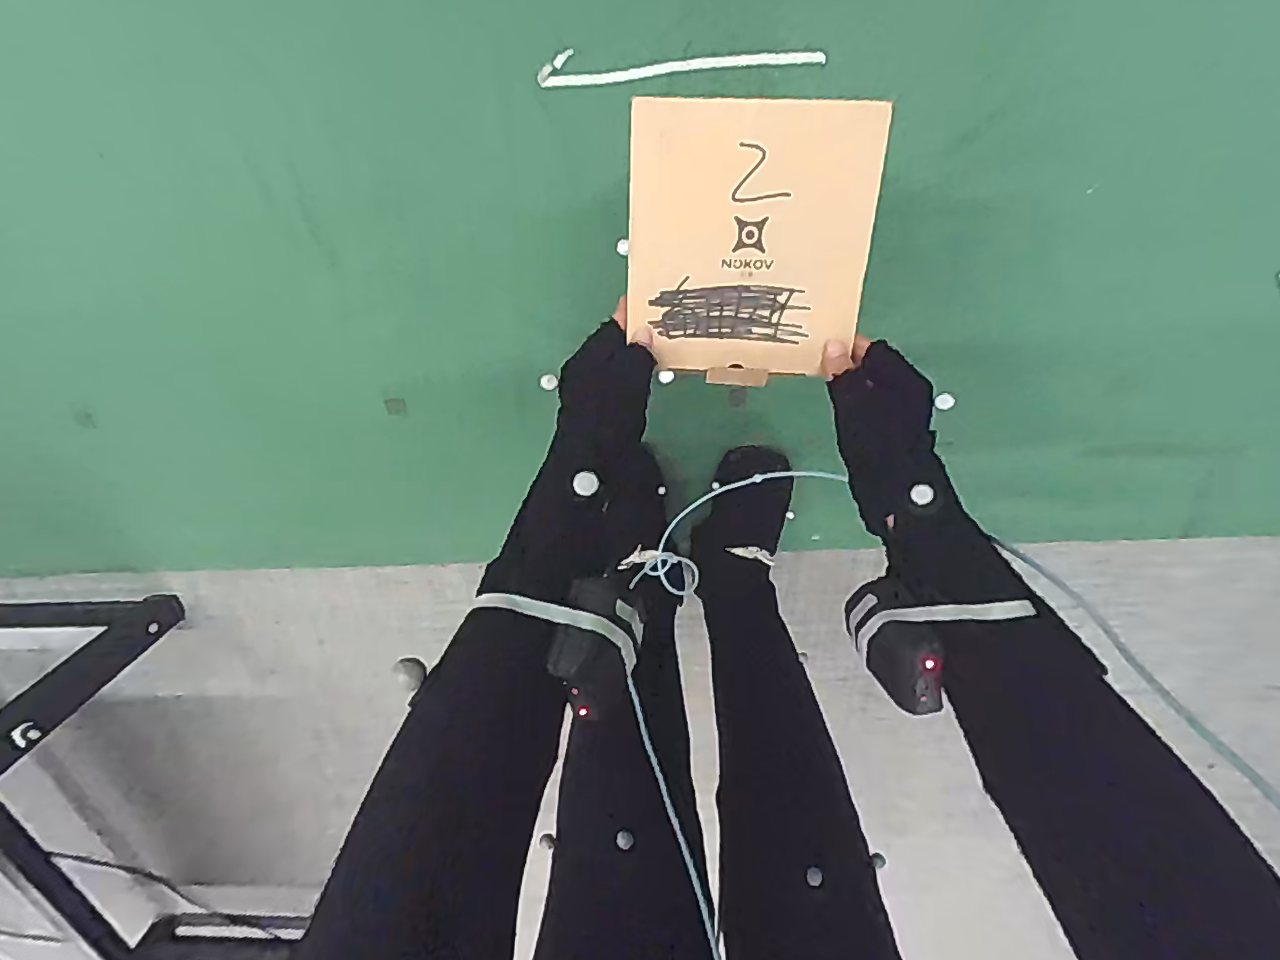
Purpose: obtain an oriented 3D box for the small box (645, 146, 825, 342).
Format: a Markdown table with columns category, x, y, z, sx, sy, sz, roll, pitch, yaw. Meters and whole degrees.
| category | x | y | z | sx | sy | sz | roll | pitch | yaw |
| --- | --- | --- | --- | --- | --- | --- | --- | --- | --- |
| small box | 0.094 | -0.262 | 0.600 | 0.168 | 0.176 | 0.179 | -1 | 118 | 3 |
